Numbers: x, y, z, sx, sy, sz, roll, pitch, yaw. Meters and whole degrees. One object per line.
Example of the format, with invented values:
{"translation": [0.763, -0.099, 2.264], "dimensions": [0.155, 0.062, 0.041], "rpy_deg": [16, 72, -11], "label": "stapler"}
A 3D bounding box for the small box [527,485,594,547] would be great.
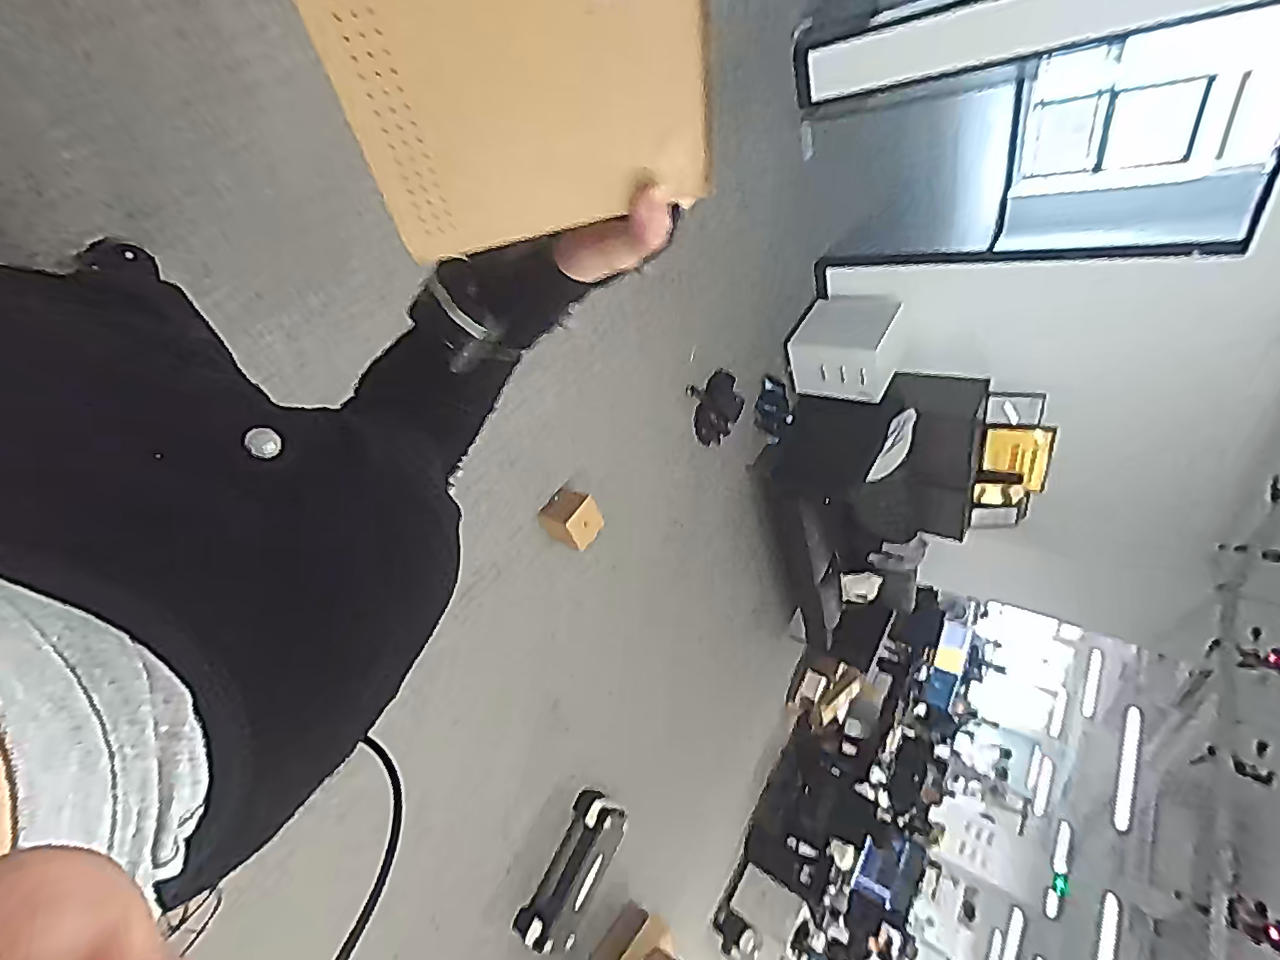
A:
{"translation": [-0.325, 0.143, 2.210], "dimensions": [0.168, 0.176, 0.179], "rpy_deg": [-53, 138, -30], "label": "small box"}
